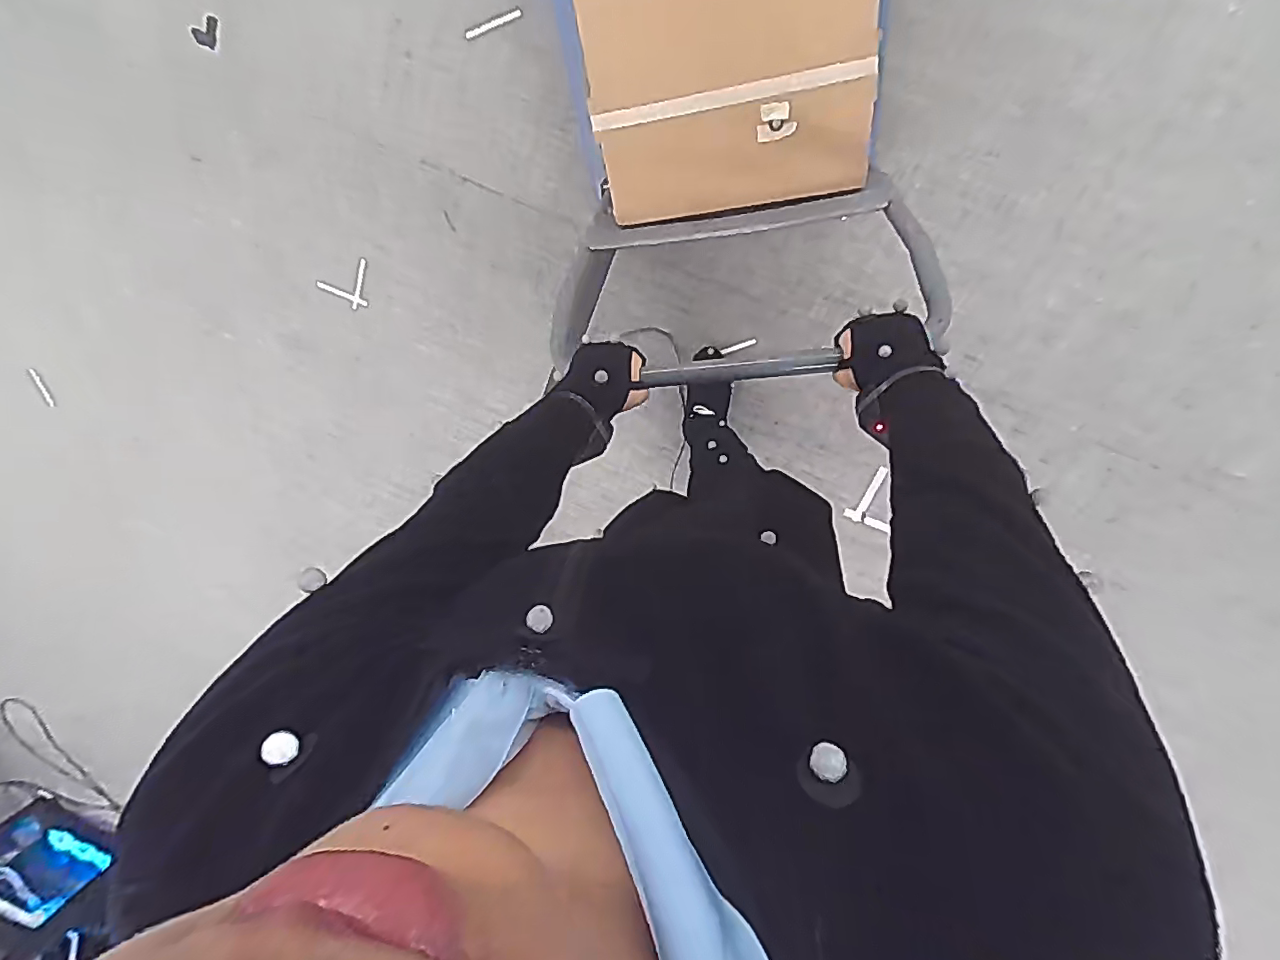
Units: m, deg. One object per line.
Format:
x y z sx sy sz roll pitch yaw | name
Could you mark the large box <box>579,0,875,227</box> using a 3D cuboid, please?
0.148 -0.668 0.918 0.408 0.320 0.320 -5 130 11 | large box
